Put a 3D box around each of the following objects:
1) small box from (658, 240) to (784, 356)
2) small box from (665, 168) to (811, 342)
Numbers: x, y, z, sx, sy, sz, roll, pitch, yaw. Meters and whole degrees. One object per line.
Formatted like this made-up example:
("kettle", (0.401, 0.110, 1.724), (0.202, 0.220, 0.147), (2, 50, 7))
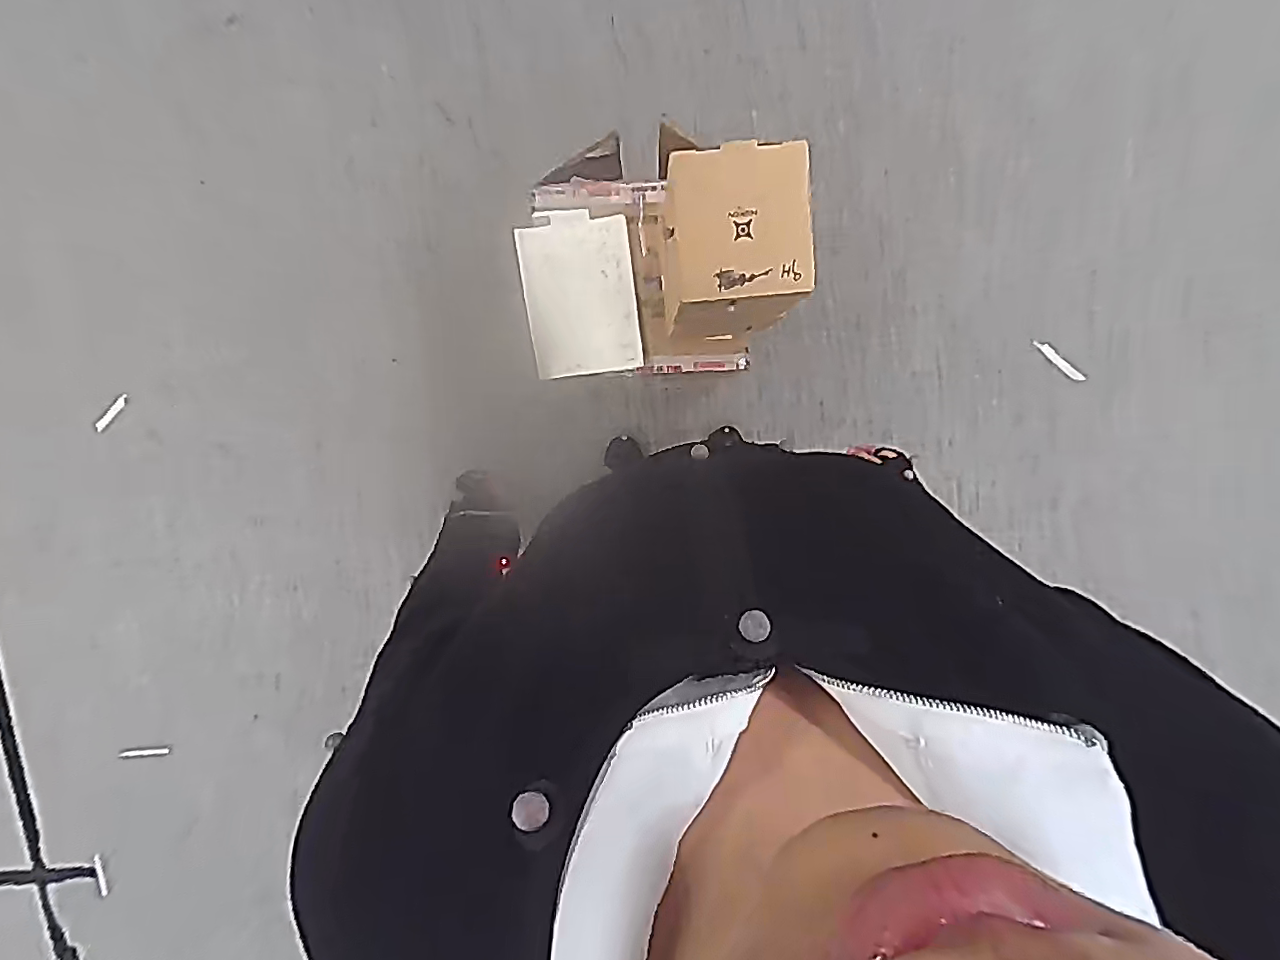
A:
("small box", (0.128, -0.308, 0.909), (0.179, 0.176, 0.168), (-7, 96, 2))
("small box", (0.125, -0.297, 0.746), (0.168, 0.176, 0.179), (-5, 96, 0))
